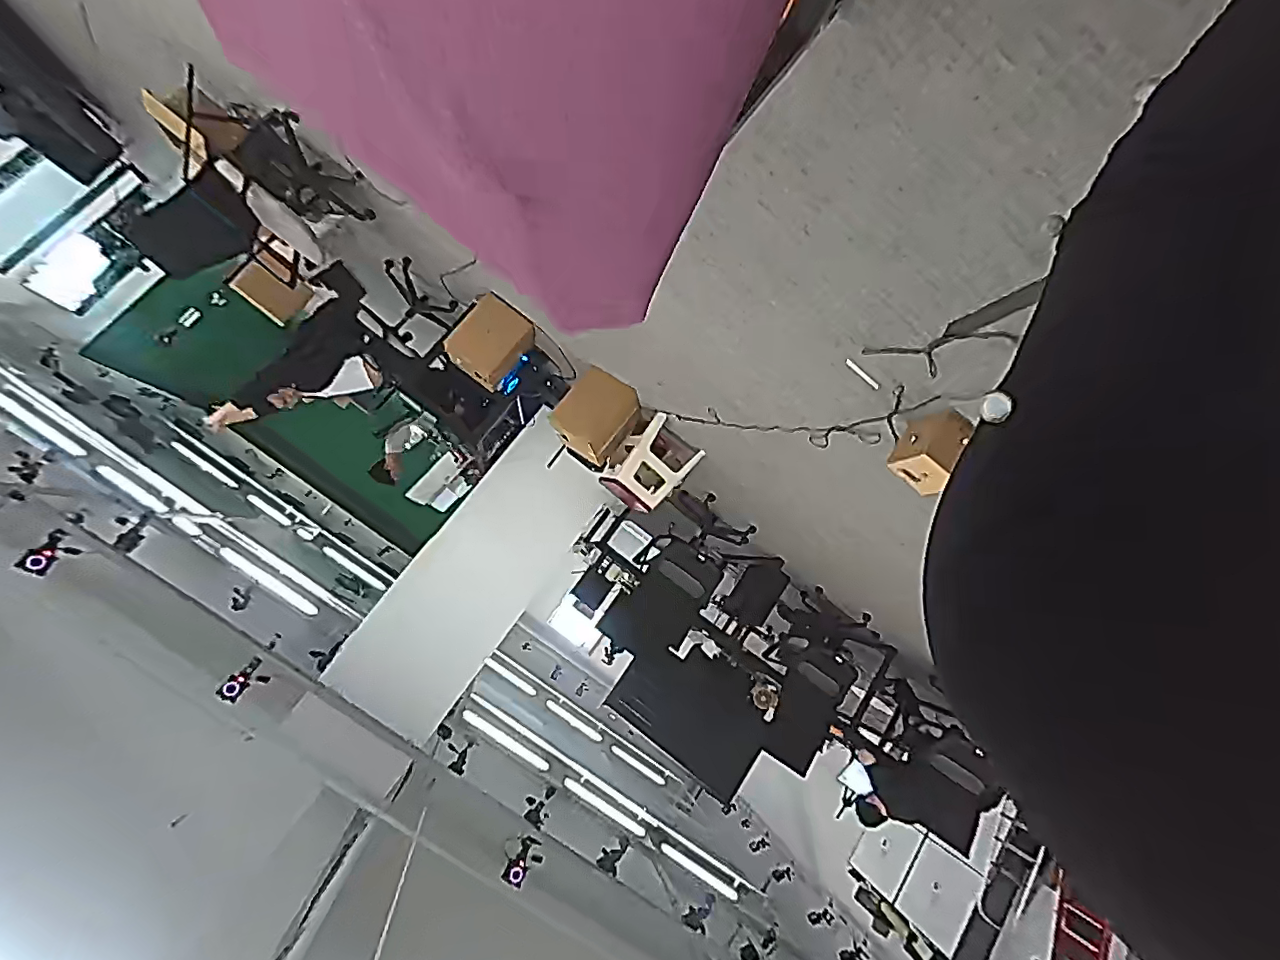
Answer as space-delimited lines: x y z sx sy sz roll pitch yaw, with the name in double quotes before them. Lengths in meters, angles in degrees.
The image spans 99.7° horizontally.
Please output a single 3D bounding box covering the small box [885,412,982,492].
"small box" 0.913 -0.085 1.681 0.168 0.176 0.179 37 166 -6
